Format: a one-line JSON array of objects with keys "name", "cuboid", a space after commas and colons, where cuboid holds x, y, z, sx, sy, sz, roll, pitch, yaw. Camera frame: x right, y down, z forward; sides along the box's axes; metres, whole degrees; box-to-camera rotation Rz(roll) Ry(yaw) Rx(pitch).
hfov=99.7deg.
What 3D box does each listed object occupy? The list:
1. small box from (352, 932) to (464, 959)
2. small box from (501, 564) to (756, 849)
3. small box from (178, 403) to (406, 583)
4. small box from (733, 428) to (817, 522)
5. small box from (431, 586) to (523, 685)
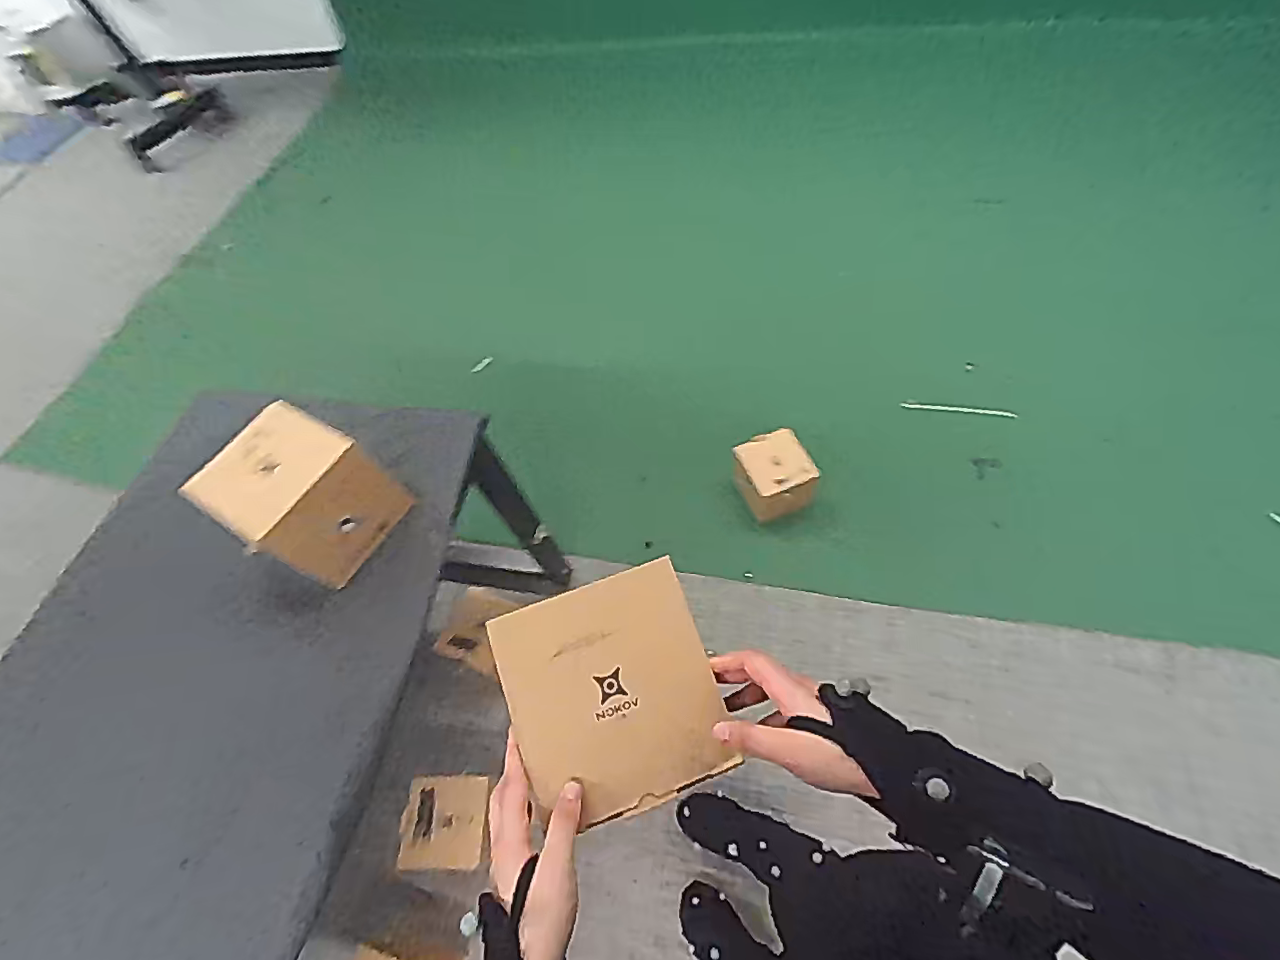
[{"name": "small box", "cuboid": [-0.471, 1.018, 1.048, 0.179, 0.176, 0.168, 10, 62, 13]}, {"name": "small box", "cuboid": [-0.013, 0.194, 0.504, 0.168, 0.176, 0.179, -18, 74, -7]}, {"name": "small box", "cuboid": [-0.476, 0.026, 0.767, 0.179, 0.176, 0.168, 24, 66, 22]}, {"name": "small box", "cuboid": [0.371, -0.010, 1.530, 0.168, 0.176, 0.179, -22, 59, -5]}, {"name": "small box", "cuboid": [-0.391, 0.404, 1.388, 0.168, 0.176, 0.179, 18, 62, 16]}]
